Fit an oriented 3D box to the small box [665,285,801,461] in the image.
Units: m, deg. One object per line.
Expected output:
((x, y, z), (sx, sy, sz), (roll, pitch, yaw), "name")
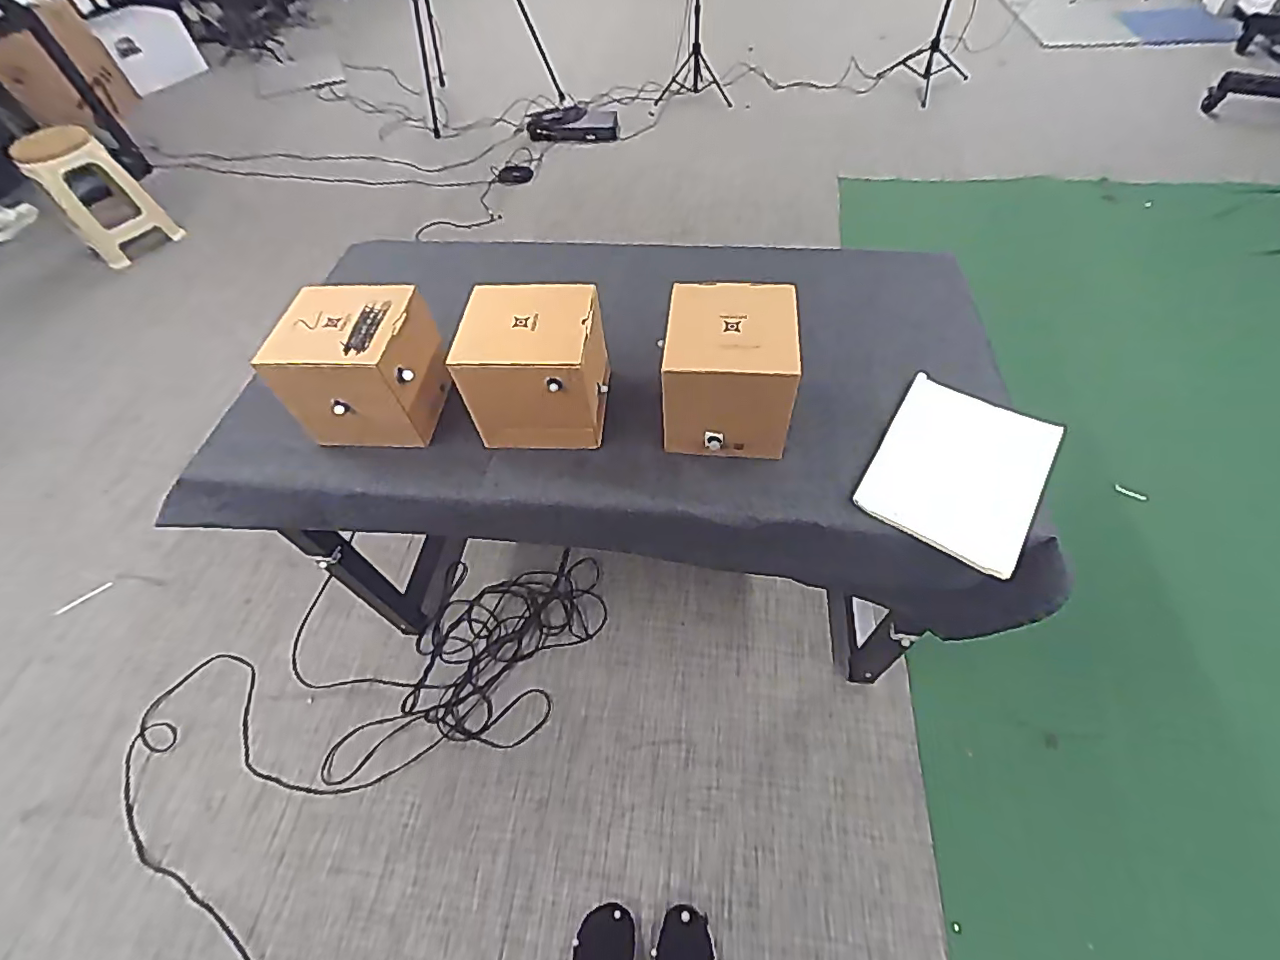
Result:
((0.125, -0.149, 0.756), (0.168, 0.176, 0.179), (2, 56, 7), "small box")

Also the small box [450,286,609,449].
((-0.145, -0.158, 0.783), (0.179, 0.176, 0.168), (1, 54, 4), "small box")
